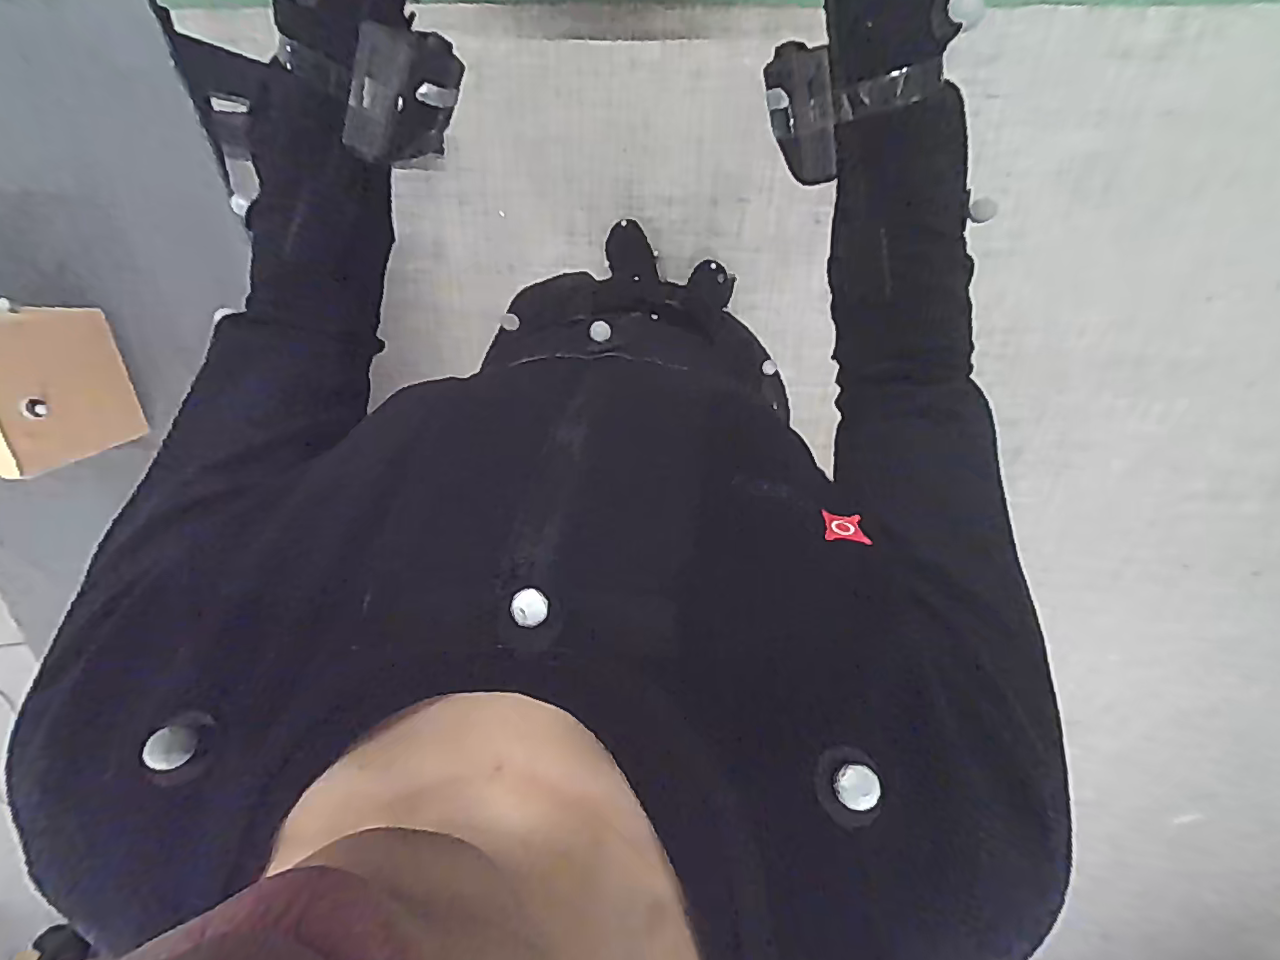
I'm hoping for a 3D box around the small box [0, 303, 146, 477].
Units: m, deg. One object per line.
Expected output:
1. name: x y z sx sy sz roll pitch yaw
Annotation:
1. small box: -0.799 -0.121 0.691 0.168 0.176 0.179 3 115 5
